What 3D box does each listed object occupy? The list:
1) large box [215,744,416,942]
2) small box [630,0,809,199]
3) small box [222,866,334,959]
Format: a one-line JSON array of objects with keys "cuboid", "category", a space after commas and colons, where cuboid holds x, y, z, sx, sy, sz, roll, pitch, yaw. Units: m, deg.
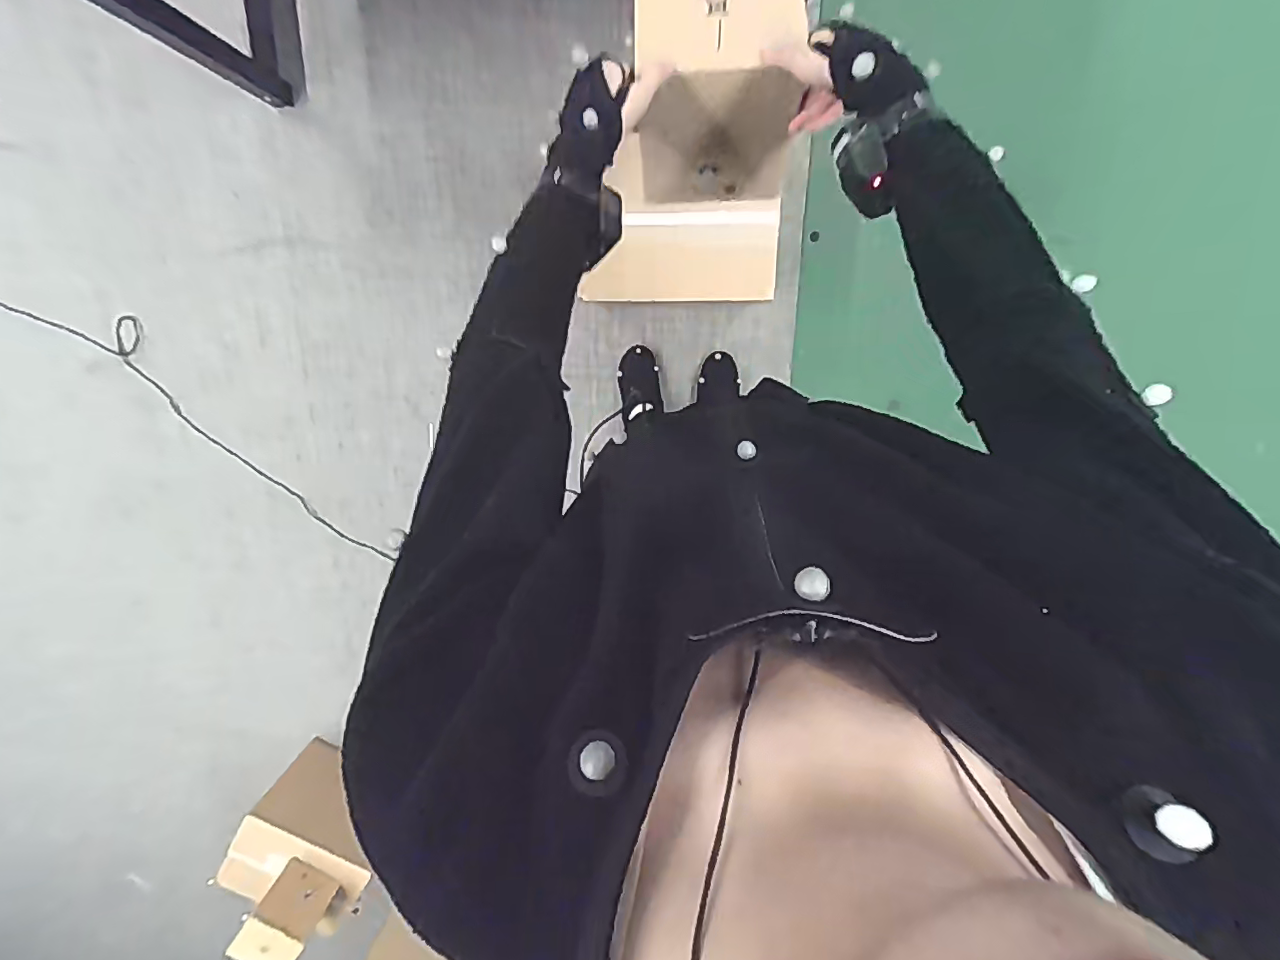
[{"cuboid": [-1.014, 1.143, 1.729, 0.408, 0.320, 0.320, 31, 104, -4], "category": "large box"}, {"cuboid": [0.078, -0.440, 0.590, 0.168, 0.176, 0.179, 0, 75, 4], "category": "small box"}, {"cuboid": [-0.994, 1.234, 1.500, 0.168, 0.176, 0.179, 34, 105, -6], "category": "small box"}]
